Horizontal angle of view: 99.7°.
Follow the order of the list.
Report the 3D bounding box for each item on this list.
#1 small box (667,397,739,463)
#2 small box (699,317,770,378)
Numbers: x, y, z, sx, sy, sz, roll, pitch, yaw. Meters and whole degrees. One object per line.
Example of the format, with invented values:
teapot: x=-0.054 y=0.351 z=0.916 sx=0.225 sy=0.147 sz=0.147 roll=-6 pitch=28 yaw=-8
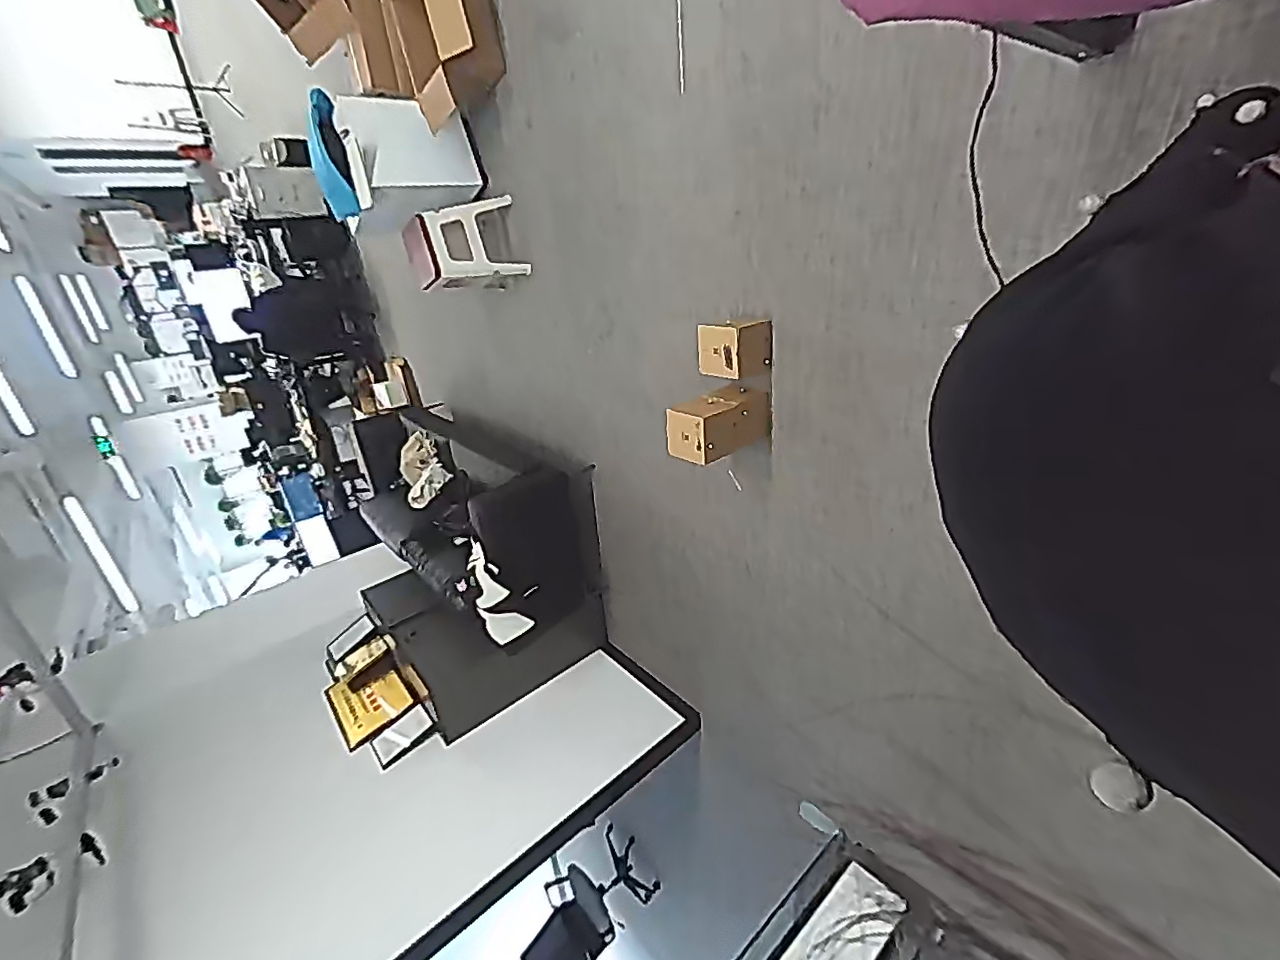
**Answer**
small box: x=0.212 y=-0.175 z=1.822 sx=0.179 sy=0.176 sz=0.168 roll=24 pitch=127 yaw=45
small box: x=0.319 y=-0.449 z=1.809 sx=0.179 sy=0.176 sz=0.168 roll=23 pitch=126 yaw=46
